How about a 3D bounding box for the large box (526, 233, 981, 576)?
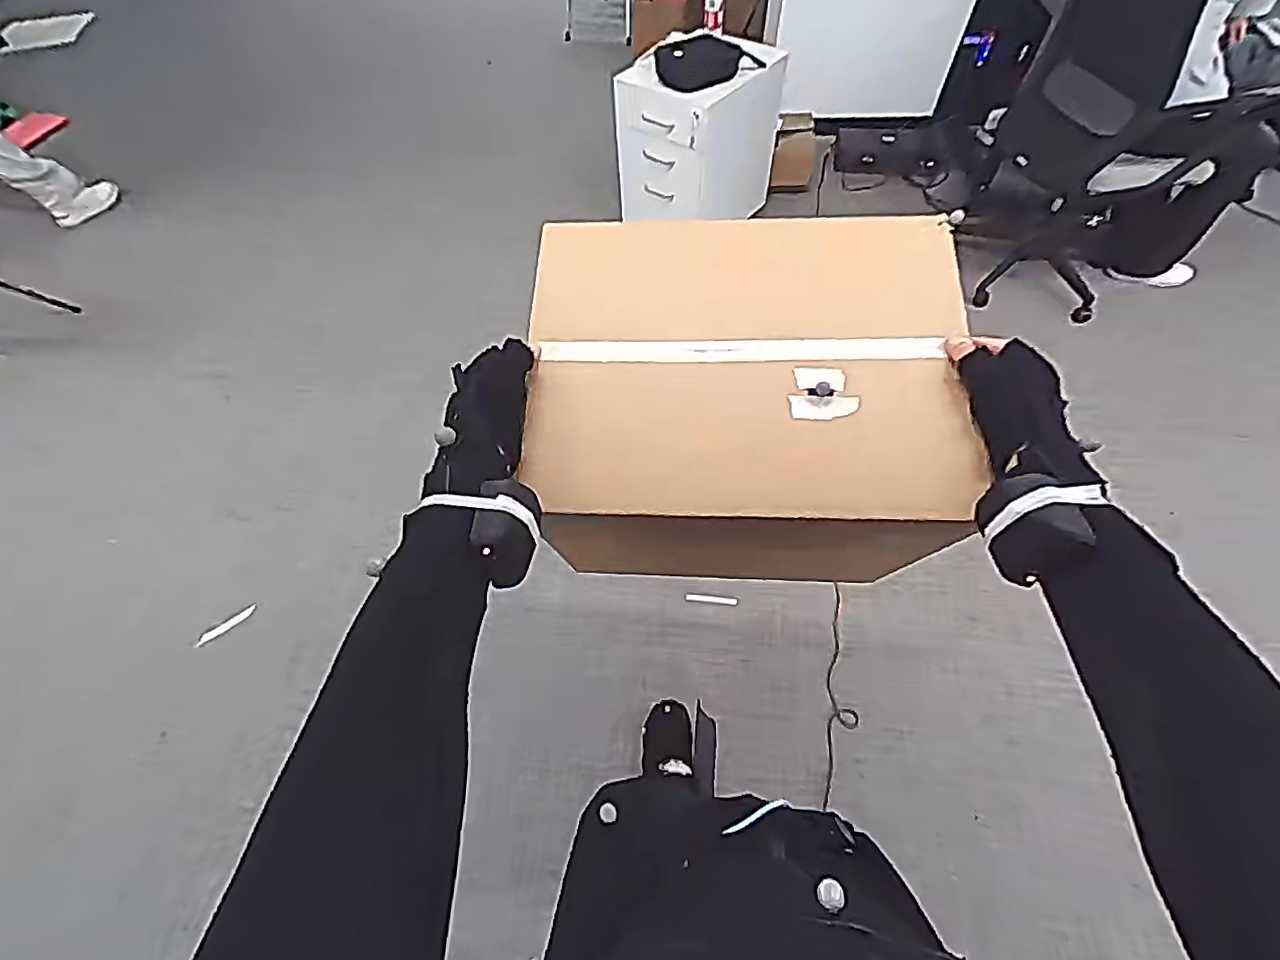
[{"bbox_3d":[0.105,-0.062,0.660,0.408,0.320,0.320,1,71,4],"label":"large box"}]
